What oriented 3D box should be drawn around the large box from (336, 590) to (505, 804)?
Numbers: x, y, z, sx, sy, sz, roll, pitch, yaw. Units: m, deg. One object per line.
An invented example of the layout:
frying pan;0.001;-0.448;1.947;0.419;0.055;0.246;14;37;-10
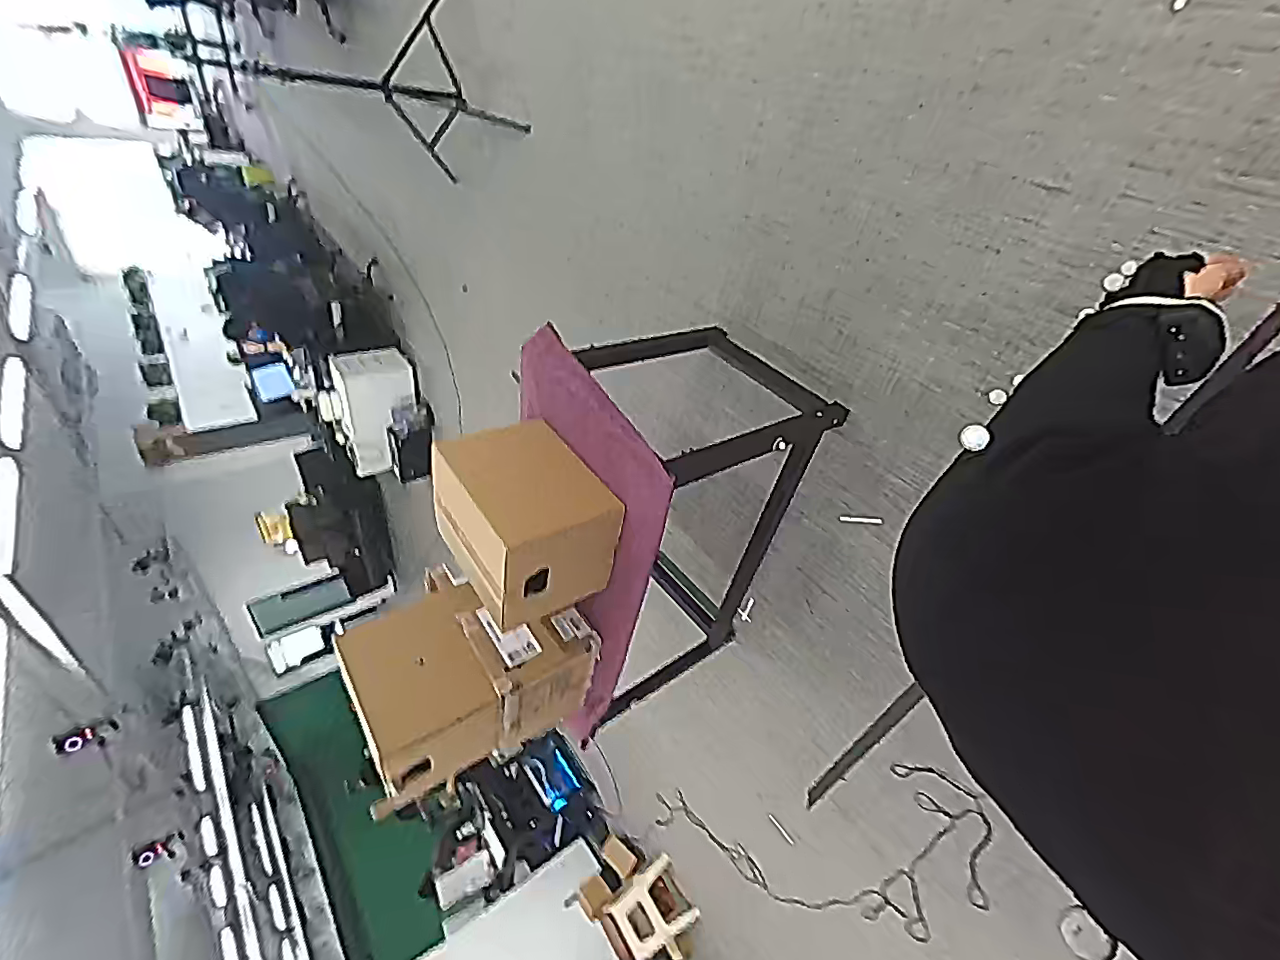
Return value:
large box;-0.621;0.598;1.546;0.408;0.320;0.320;44;139;33
